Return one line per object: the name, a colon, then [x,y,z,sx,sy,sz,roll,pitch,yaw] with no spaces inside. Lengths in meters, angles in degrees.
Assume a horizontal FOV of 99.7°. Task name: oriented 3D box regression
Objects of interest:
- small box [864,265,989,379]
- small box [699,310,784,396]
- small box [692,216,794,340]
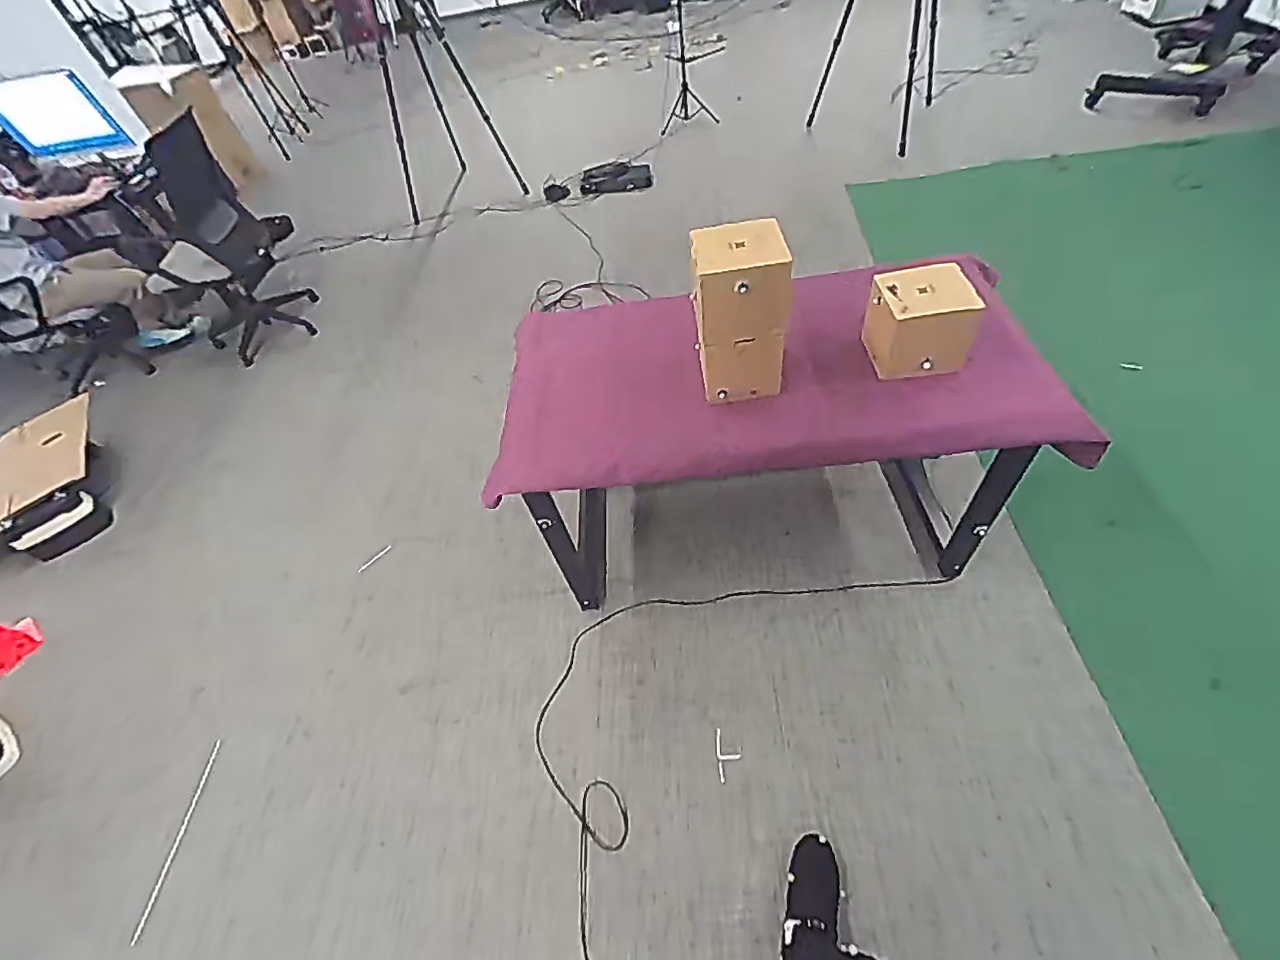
small box: [0.613,-0.342,1.183,0.179,0.176,0.168,-5,51,6]
small box: [0.226,-0.304,1.221,0.168,0.176,0.179,-6,50,5]
small box: [0.204,-0.401,1.092,0.179,0.176,0.168,-6,52,4]
